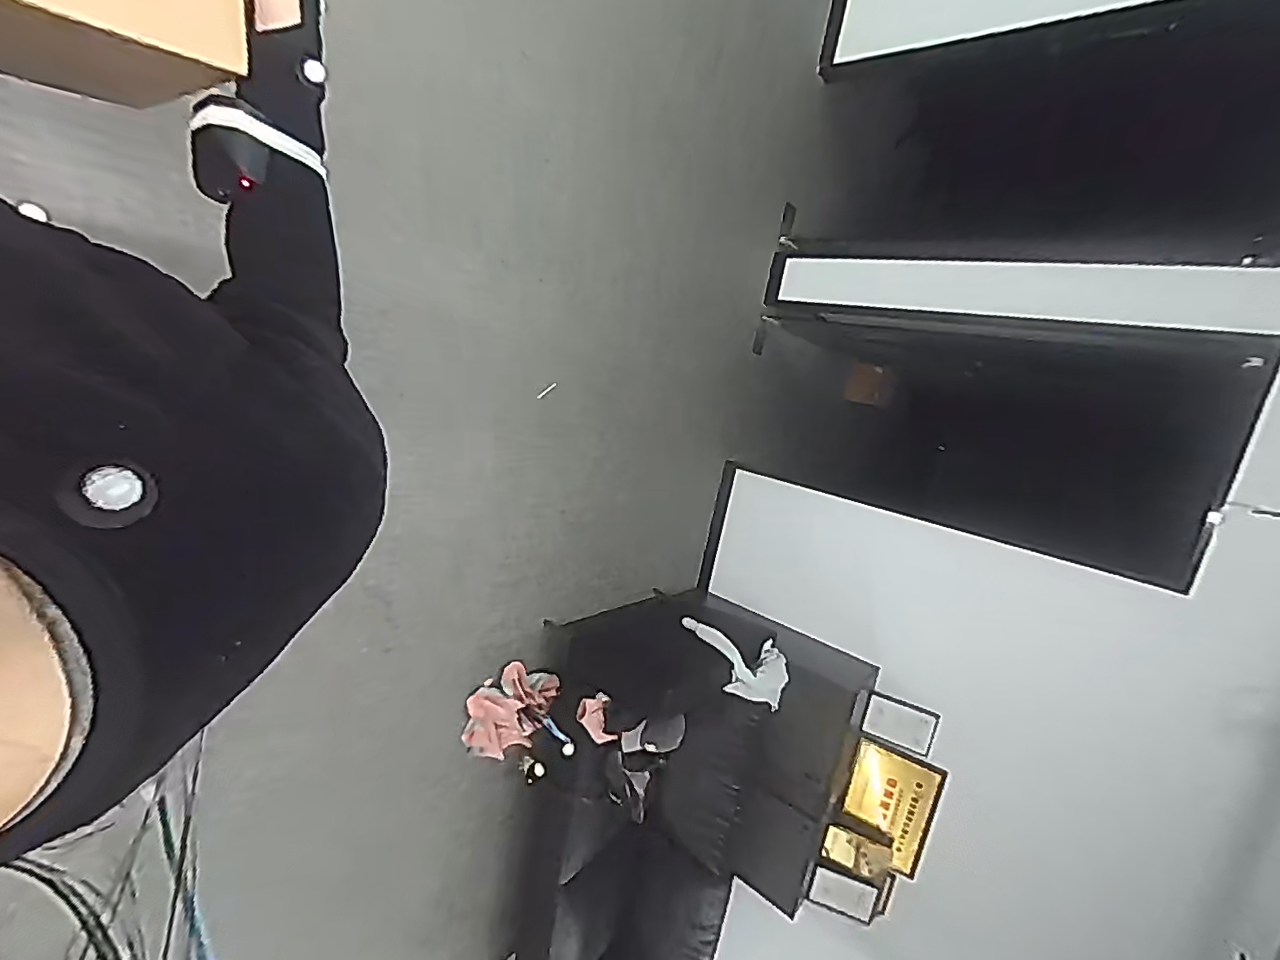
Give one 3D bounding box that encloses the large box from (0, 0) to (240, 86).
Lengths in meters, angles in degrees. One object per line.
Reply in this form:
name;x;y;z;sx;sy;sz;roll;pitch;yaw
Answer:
large box;-0.528;-0.476;0.305;0.408;0.320;0.320;-16;120;-49
